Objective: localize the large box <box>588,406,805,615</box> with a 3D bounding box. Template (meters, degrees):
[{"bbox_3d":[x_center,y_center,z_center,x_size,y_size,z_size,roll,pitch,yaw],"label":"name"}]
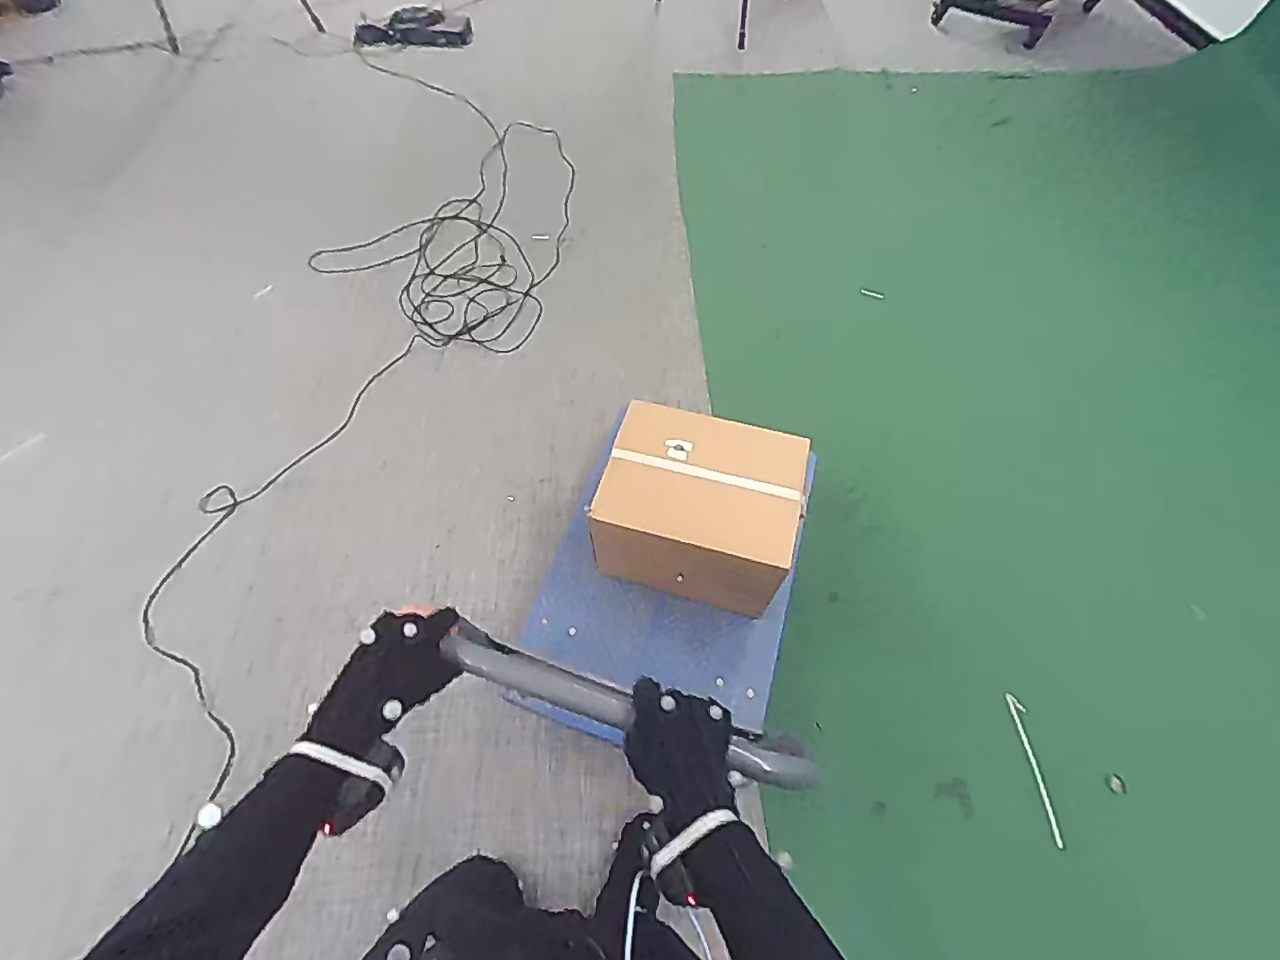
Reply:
[{"bbox_3d":[0.130,0.078,1.248,0.408,0.320,0.320,14,59,9],"label":"large box"}]
